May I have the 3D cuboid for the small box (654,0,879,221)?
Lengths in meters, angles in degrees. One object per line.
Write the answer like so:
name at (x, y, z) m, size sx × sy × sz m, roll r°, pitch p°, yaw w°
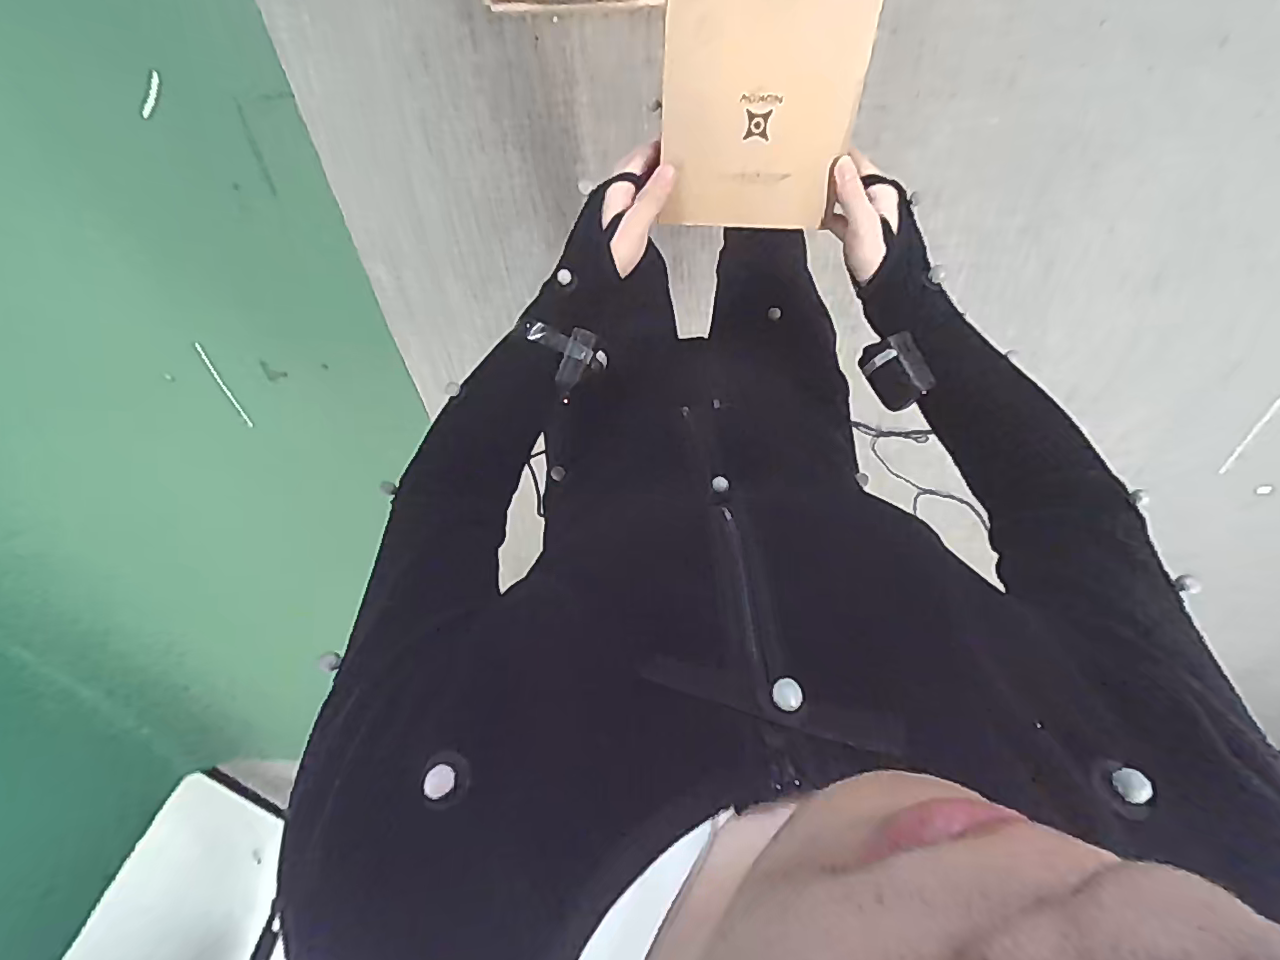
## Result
small box at (0.099, -0.365, 0.513) m, size 0.168 × 0.176 × 0.179 m, roll 2°, pitch 131°, yaw 0°
